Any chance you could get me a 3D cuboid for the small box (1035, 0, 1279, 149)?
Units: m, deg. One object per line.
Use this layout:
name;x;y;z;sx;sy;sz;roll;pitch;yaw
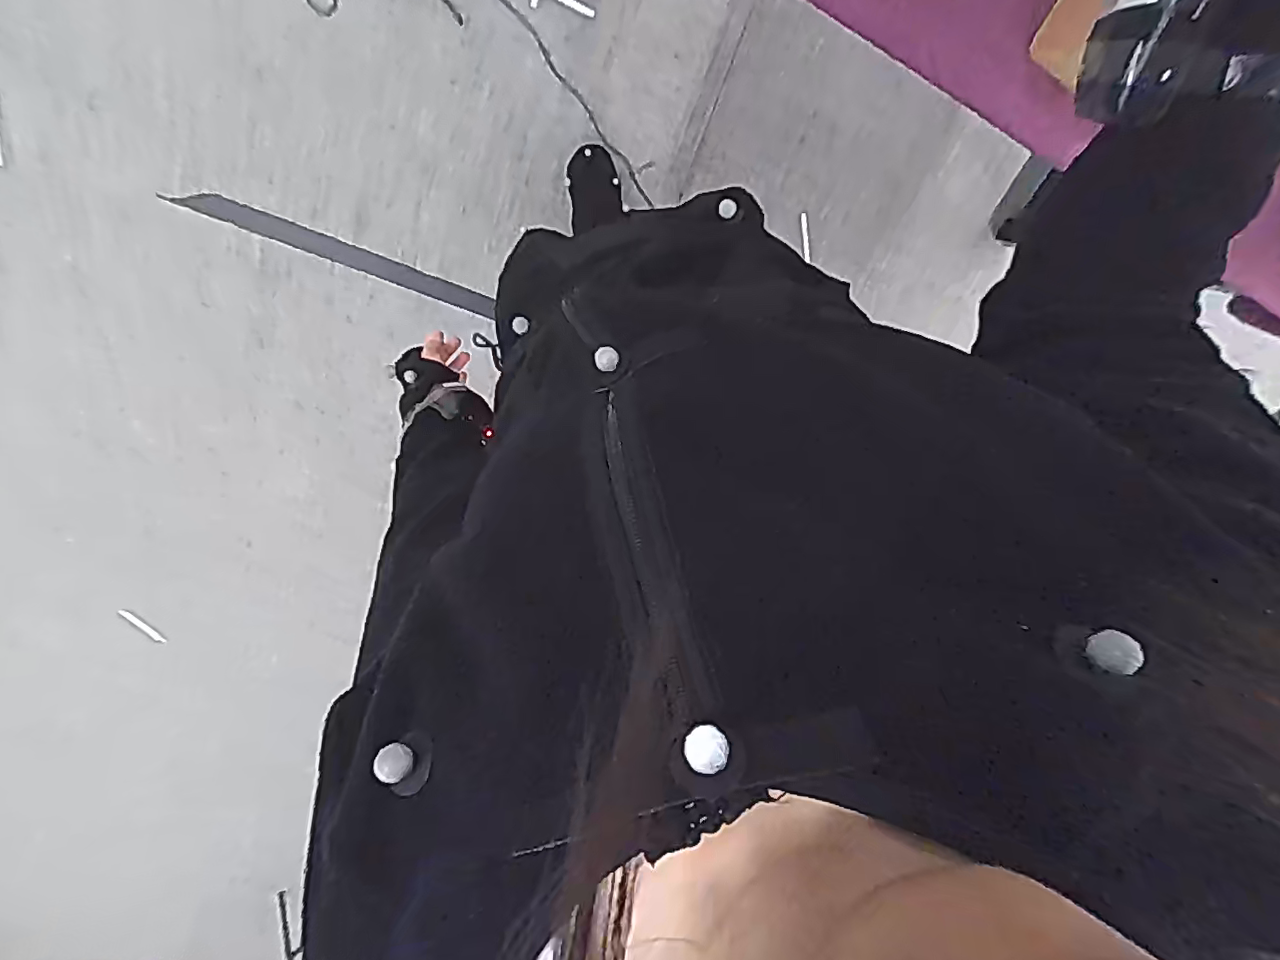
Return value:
small box;0.487;-0.397;0.436;0.179;0.176;0.168;18;117;-18
